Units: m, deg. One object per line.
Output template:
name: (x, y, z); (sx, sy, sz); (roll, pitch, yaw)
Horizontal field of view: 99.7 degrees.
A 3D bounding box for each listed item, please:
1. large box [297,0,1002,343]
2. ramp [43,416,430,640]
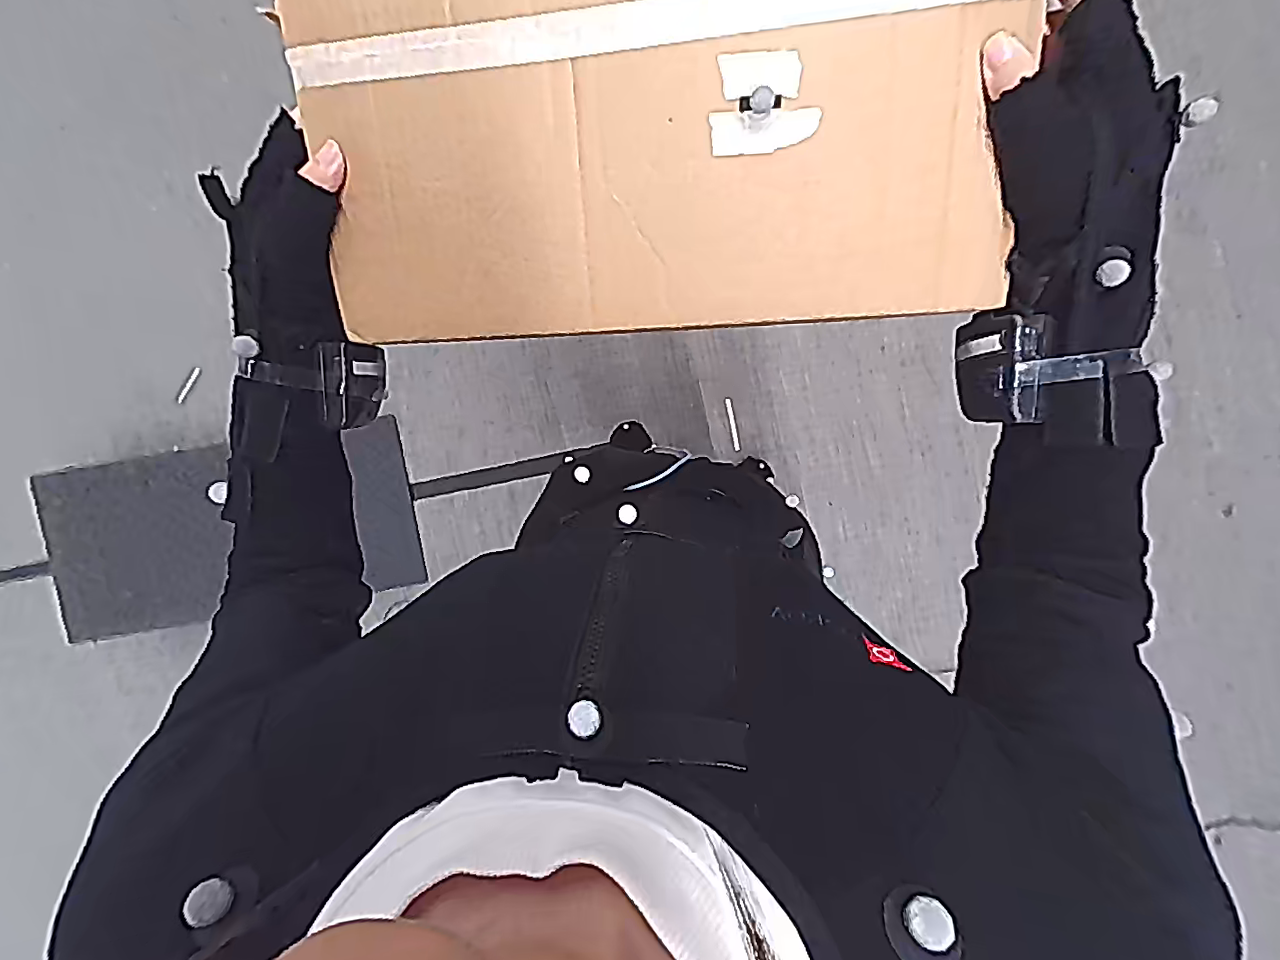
large box: (0.009, -0.293, 0.450); (0.408, 0.320, 0.320); (-2, 107, 7)
ramp: (-1.140, 0.133, 1.545); (0.991, 0.206, 0.509); (-11, 92, 8)
